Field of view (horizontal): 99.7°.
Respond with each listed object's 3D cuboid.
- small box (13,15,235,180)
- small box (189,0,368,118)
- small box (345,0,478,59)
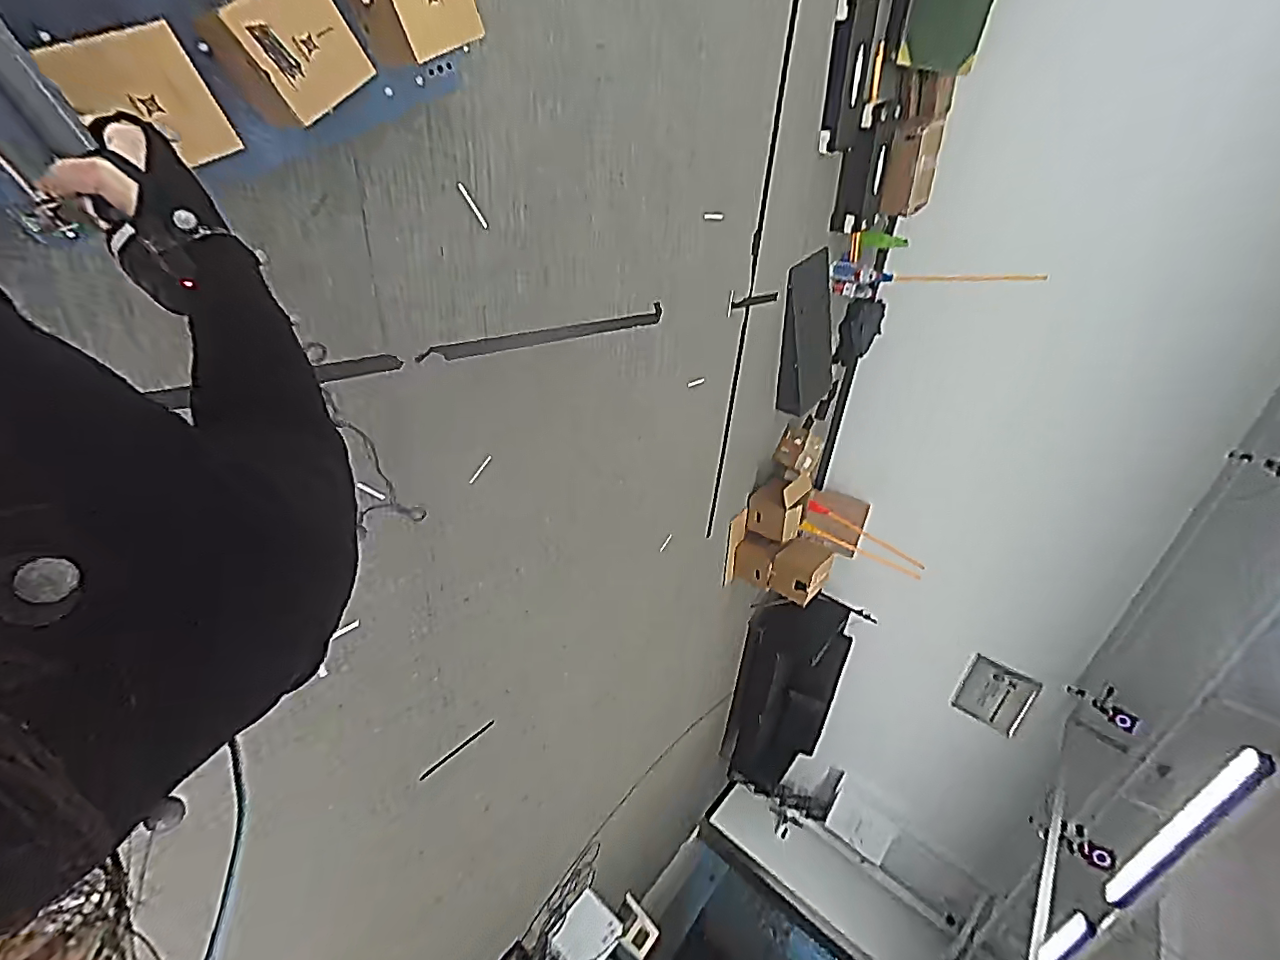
[{"bbox_3d":[-0.781,-0.578,0.822,0.179,0.176,0.168,-46,144,-28],"label":"small box"},{"bbox_3d":[-0.623,-0.752,0.928,0.179,0.176,0.168,-54,147,-17],"label":"small box"},{"bbox_3d":[-0.457,-0.937,1.040,0.179,0.176,0.168,-48,144,-24],"label":"small box"}]
